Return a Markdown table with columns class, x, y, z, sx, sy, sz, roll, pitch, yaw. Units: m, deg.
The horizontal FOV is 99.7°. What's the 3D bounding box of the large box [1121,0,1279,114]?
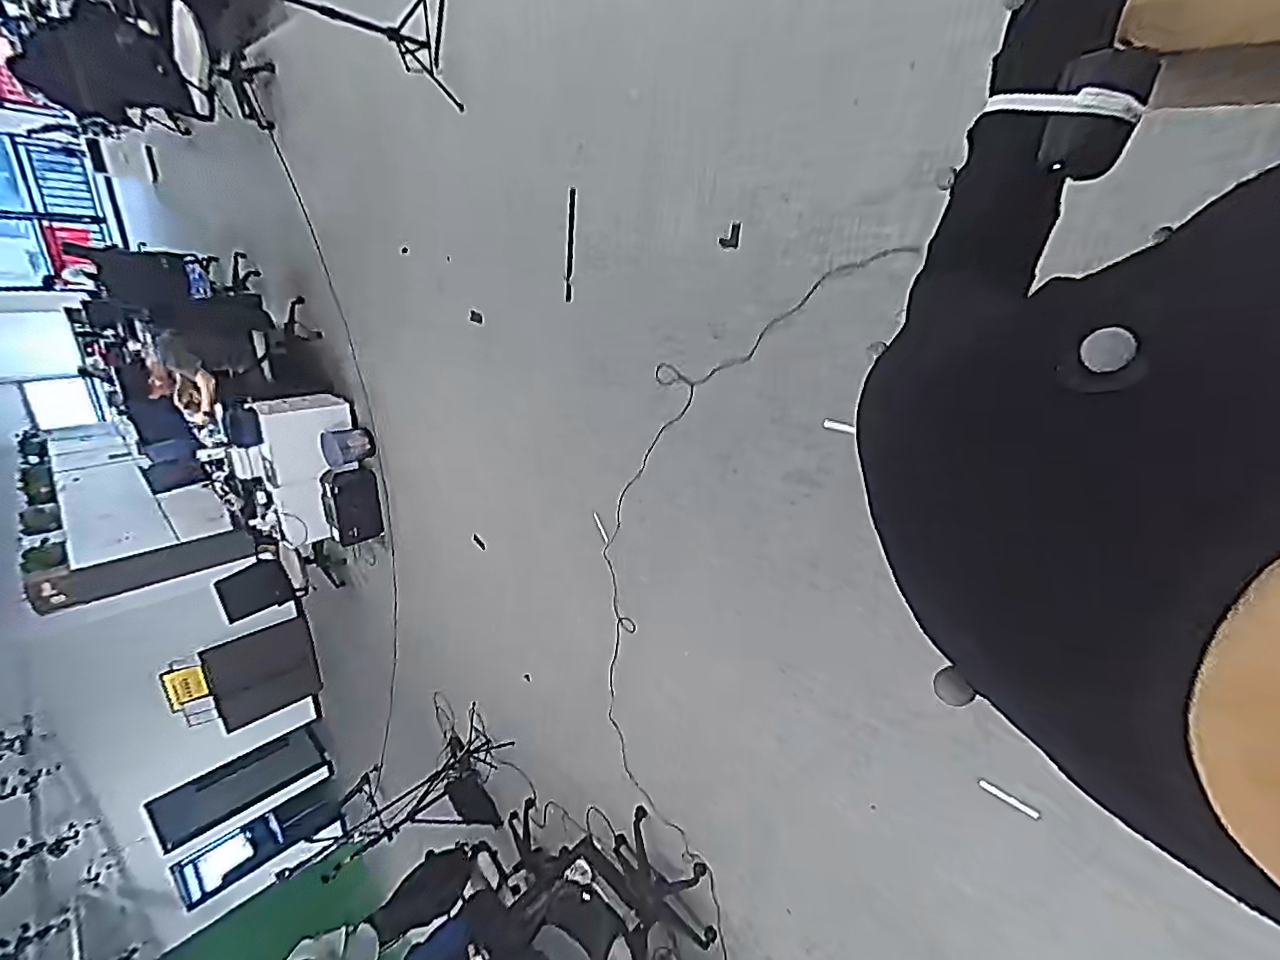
| class | x | y | z | sx | sy | sz | roll | pitch | yaw |
| --- | --- | --- | --- | --- | --- | --- | --- | --- | --- |
| large box | 0.554 | -0.405 | 0.275 | 0.408 | 0.320 | 0.320 | 21 | 125 | 34 |
